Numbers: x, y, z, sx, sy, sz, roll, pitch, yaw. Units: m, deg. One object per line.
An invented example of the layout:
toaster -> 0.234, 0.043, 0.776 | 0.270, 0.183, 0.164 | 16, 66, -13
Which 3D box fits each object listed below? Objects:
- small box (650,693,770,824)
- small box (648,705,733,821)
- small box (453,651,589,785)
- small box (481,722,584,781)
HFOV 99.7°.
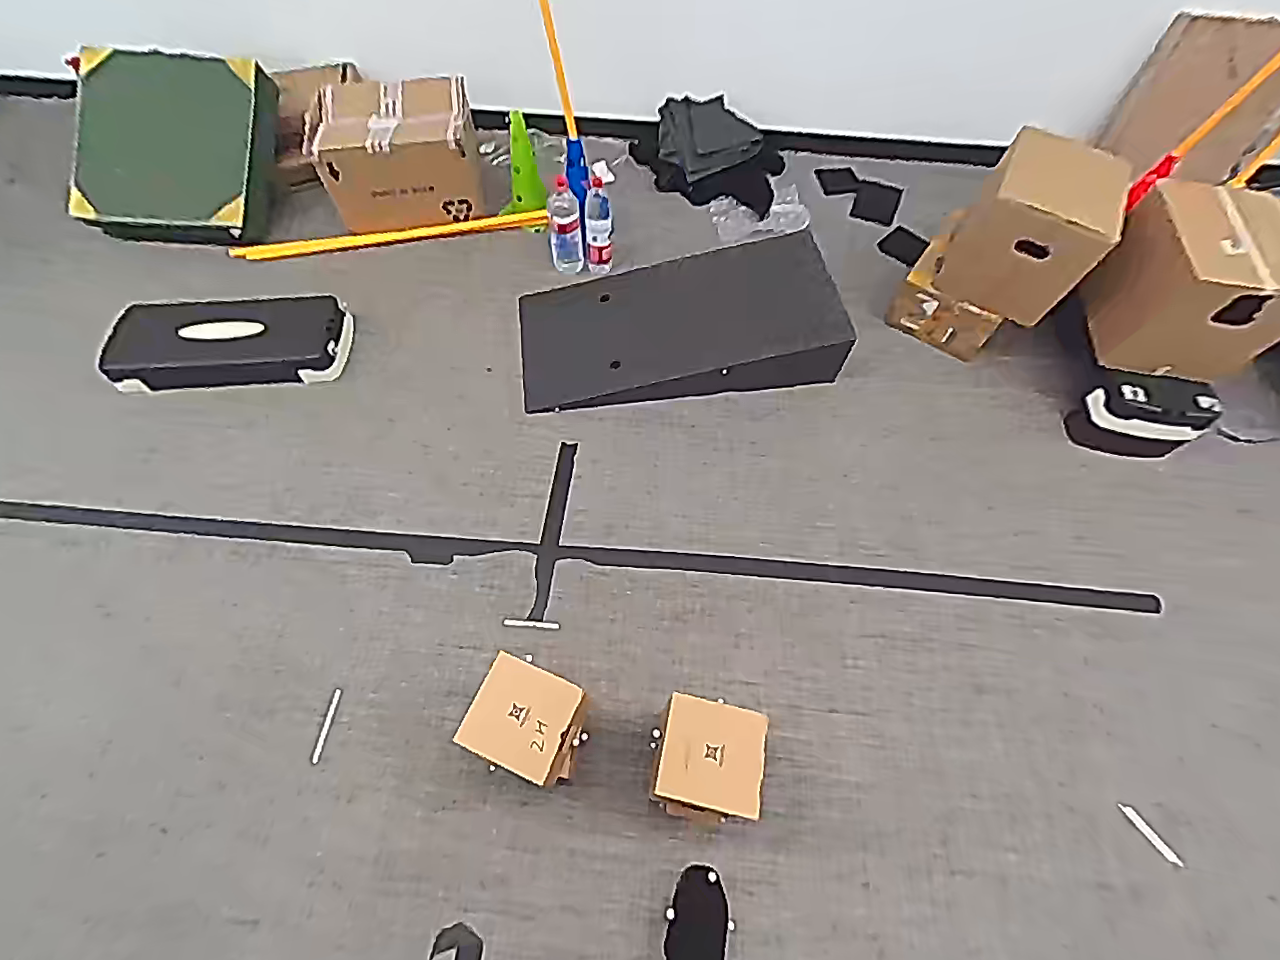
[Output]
small box -> 0.122, 0.504, 0.984 | 0.179, 0.176, 0.168 | 13, 60, 5
small box -> 0.113, 0.586, 1.124 | 0.168, 0.176, 0.179 | 12, 61, 4
small box -> -0.208, 0.443, 1.001 | 0.179, 0.176, 0.168 | 22, 64, 10
small box -> -0.212, 0.525, 1.145 | 0.179, 0.176, 0.168 | 11, 61, 3
